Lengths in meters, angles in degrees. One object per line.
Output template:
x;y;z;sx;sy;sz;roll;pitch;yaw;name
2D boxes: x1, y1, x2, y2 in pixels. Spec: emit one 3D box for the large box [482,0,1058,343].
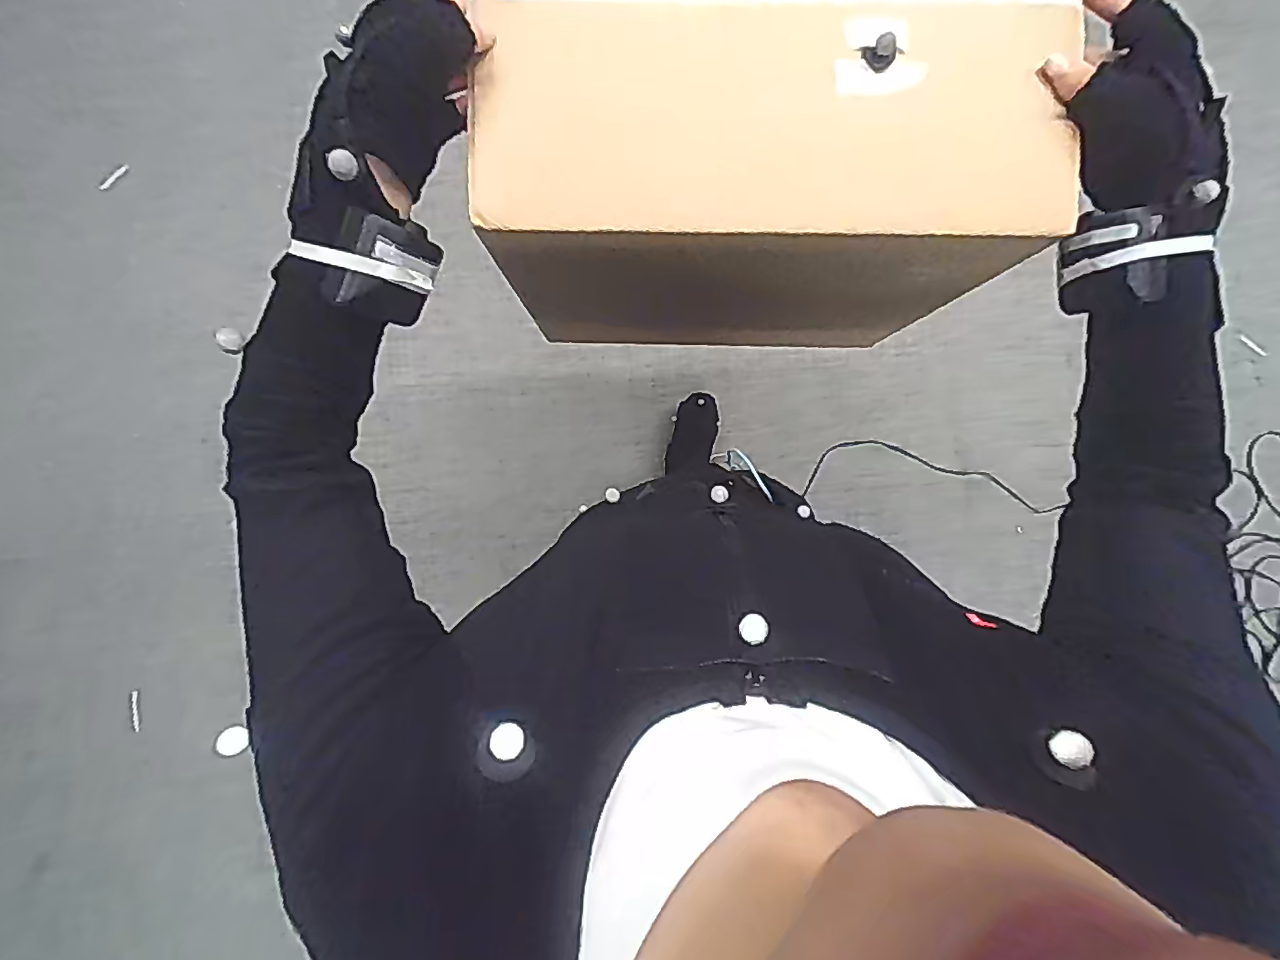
0.086;-0.326;0.522;0.408;0.320;0.320;0;91;0;large box
